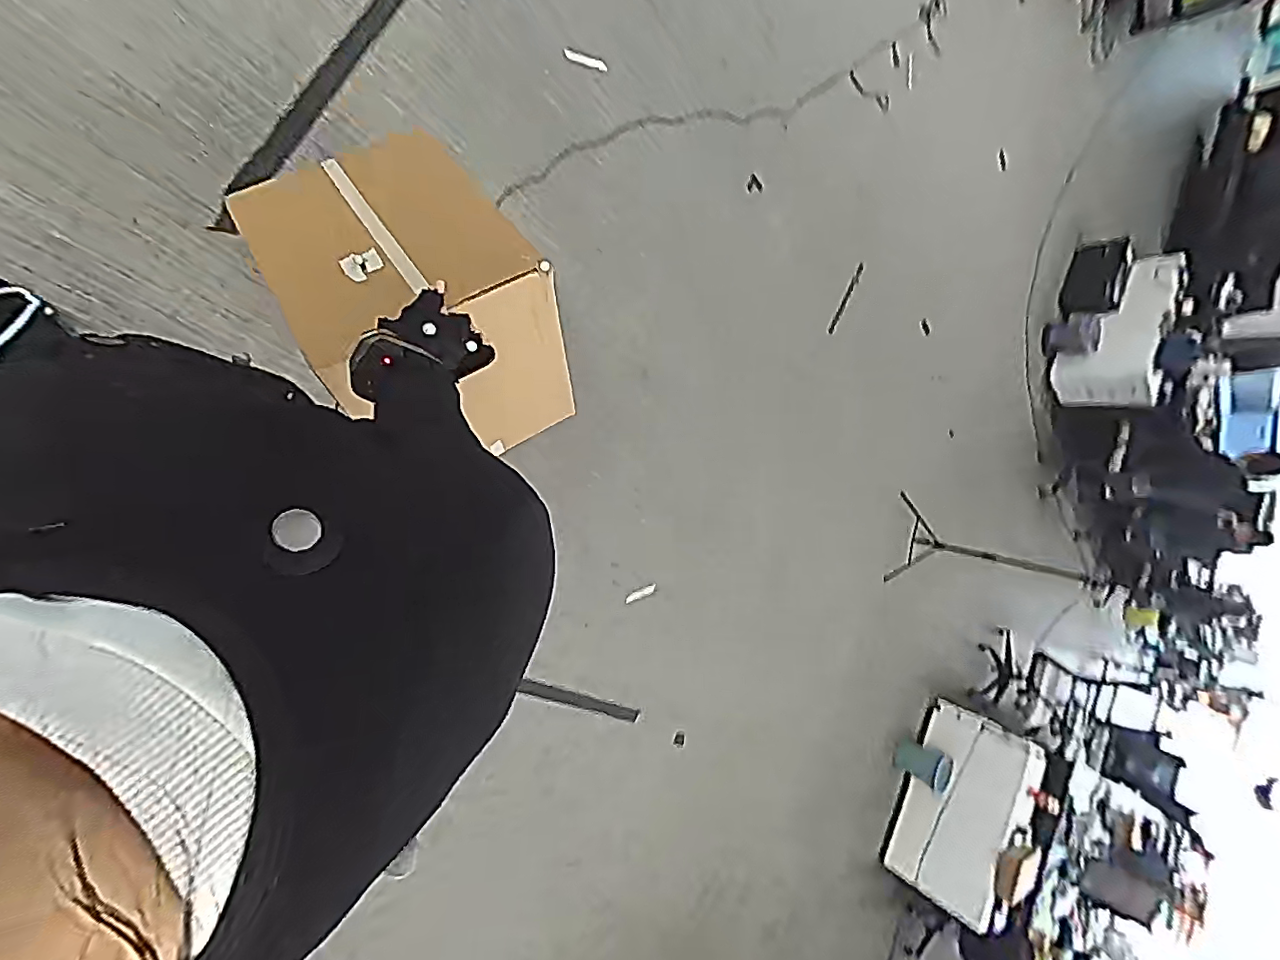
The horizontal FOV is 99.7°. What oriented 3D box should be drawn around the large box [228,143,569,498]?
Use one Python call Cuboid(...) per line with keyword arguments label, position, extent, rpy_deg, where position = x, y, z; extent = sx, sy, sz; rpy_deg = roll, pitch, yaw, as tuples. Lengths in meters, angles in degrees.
Cuboid(label="large box", position=(-0.358, -0.252, 0.867), extent=(0.320, 0.408, 0.320), rpy_deg=(-31, 154, -16))
